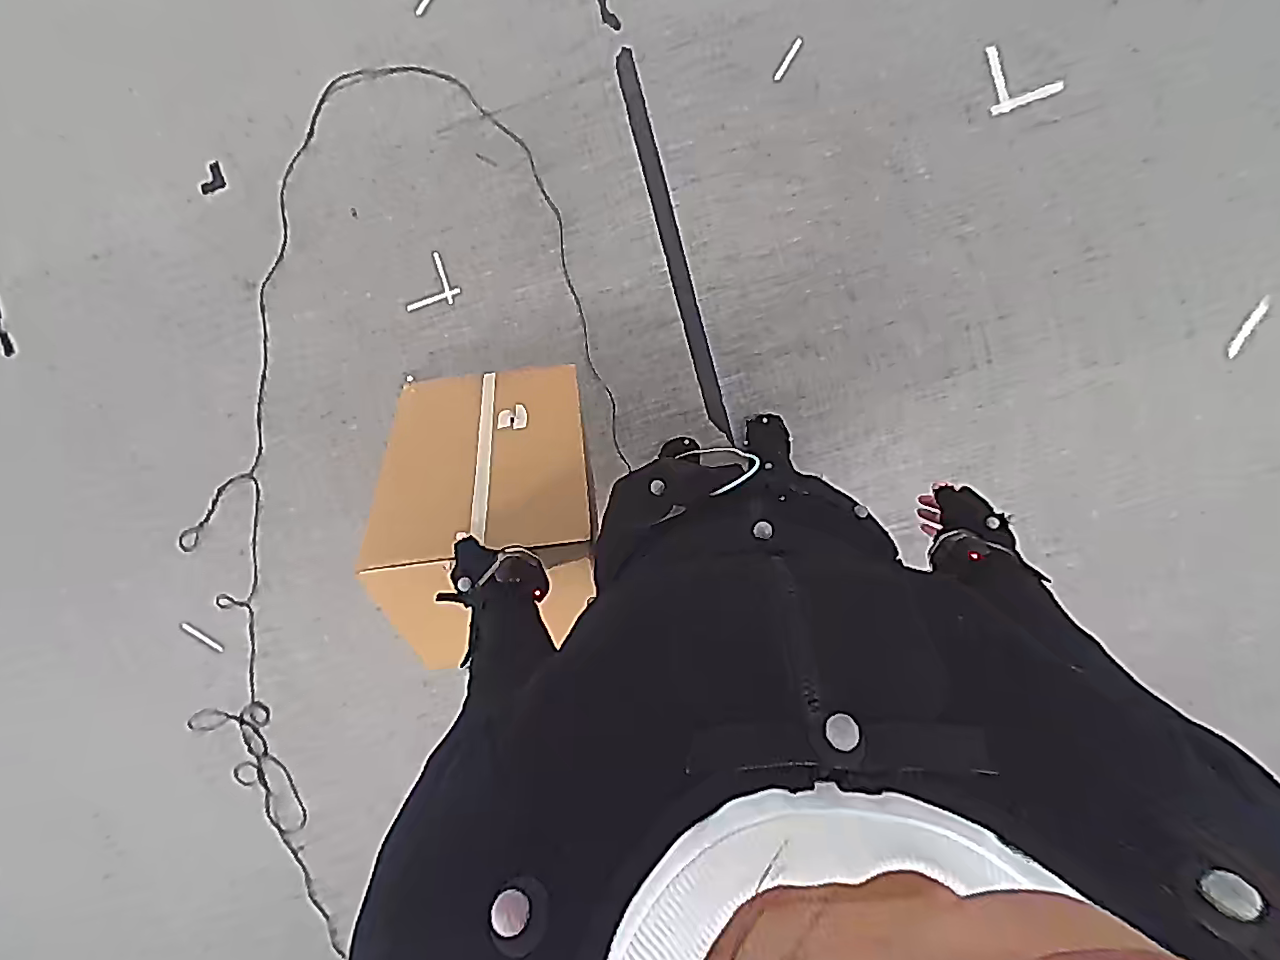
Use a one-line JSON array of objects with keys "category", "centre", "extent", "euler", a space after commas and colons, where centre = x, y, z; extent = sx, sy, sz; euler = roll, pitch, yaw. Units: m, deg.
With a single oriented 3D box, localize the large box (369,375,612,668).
[{"category": "large box", "centre": [-0.236, 0.067, 0.977], "extent": [0.320, 0.408, 0.320], "euler": [-7, 137, -3]}]
